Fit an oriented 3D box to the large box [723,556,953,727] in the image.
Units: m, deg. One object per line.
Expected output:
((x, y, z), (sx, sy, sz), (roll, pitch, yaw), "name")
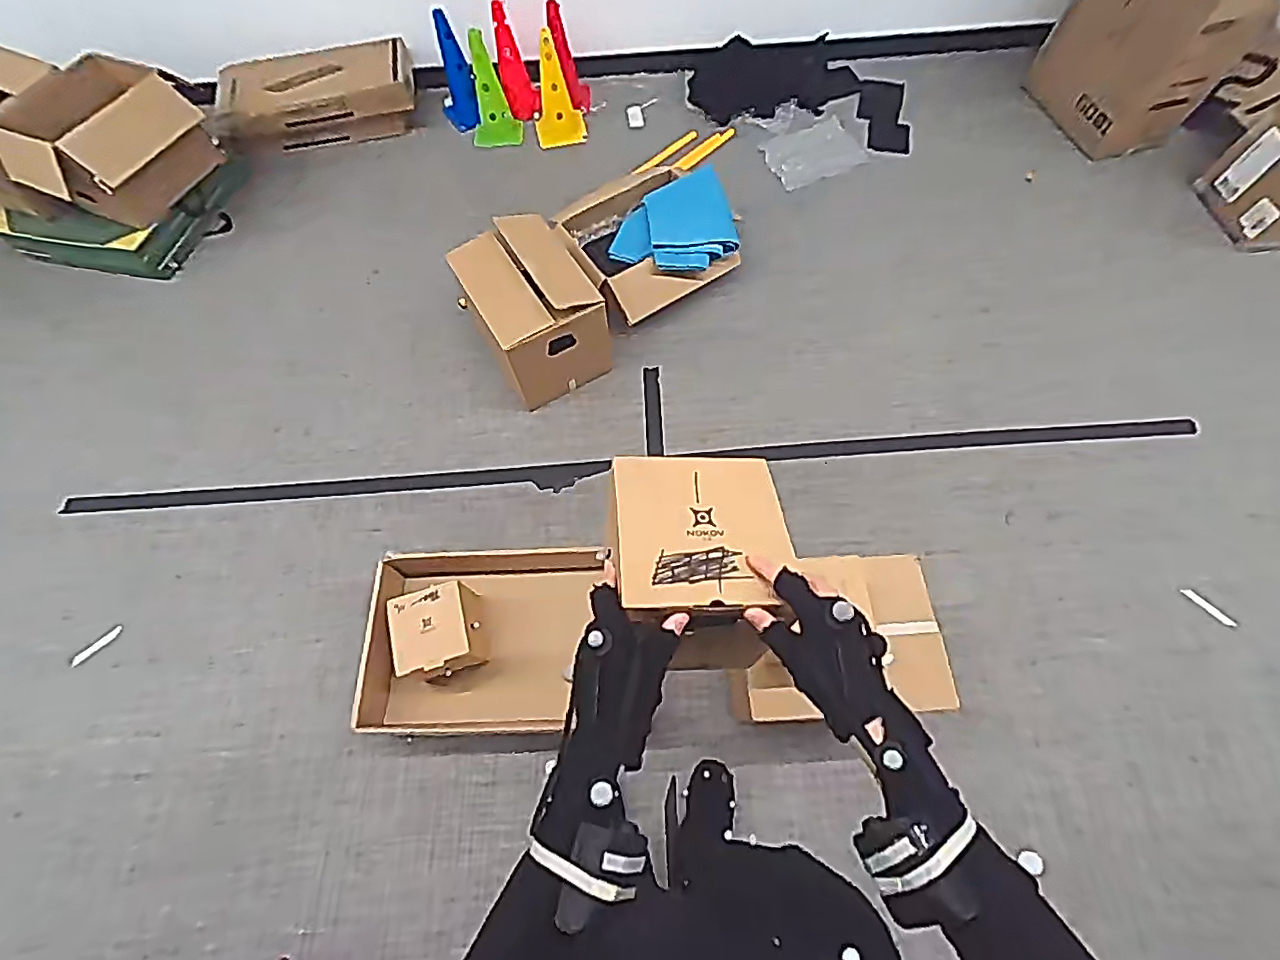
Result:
((0.401, 0.382, 1.240), (0.408, 0.320, 0.320), (-3, 66, -1), "large box")

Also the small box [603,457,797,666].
((0.049, 0.095, 0.584), (0.168, 0.176, 0.179), (1, 54, -7), "small box")
